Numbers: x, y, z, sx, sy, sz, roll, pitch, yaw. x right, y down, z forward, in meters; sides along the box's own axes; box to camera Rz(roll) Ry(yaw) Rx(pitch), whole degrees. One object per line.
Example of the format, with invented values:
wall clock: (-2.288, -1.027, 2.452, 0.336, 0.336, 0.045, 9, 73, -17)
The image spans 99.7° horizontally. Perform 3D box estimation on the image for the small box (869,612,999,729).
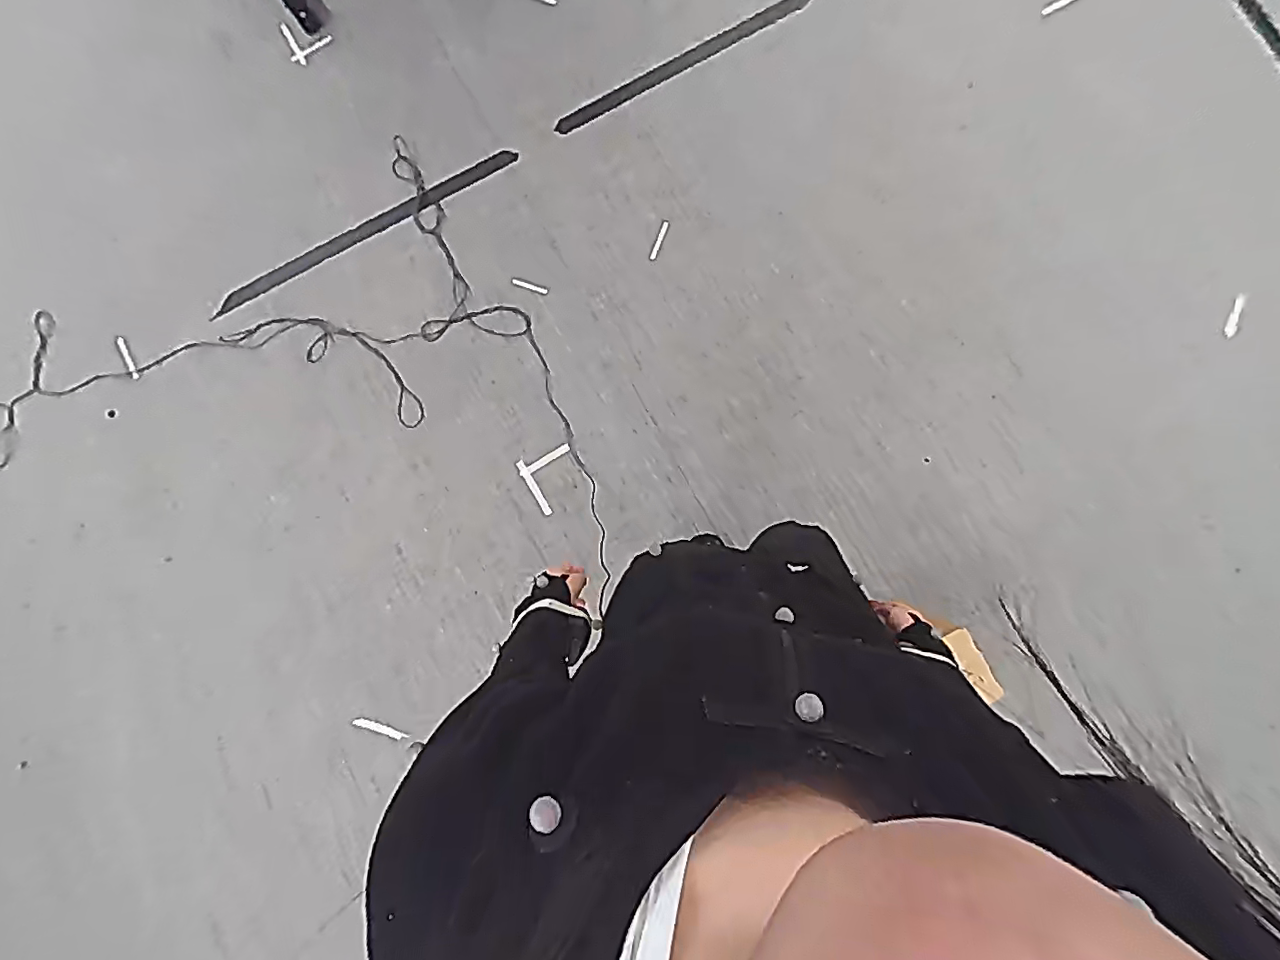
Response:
small box: (0.645, 0.418, 1.216, 0.179, 0.176, 0.168, -28, 86, 0)
